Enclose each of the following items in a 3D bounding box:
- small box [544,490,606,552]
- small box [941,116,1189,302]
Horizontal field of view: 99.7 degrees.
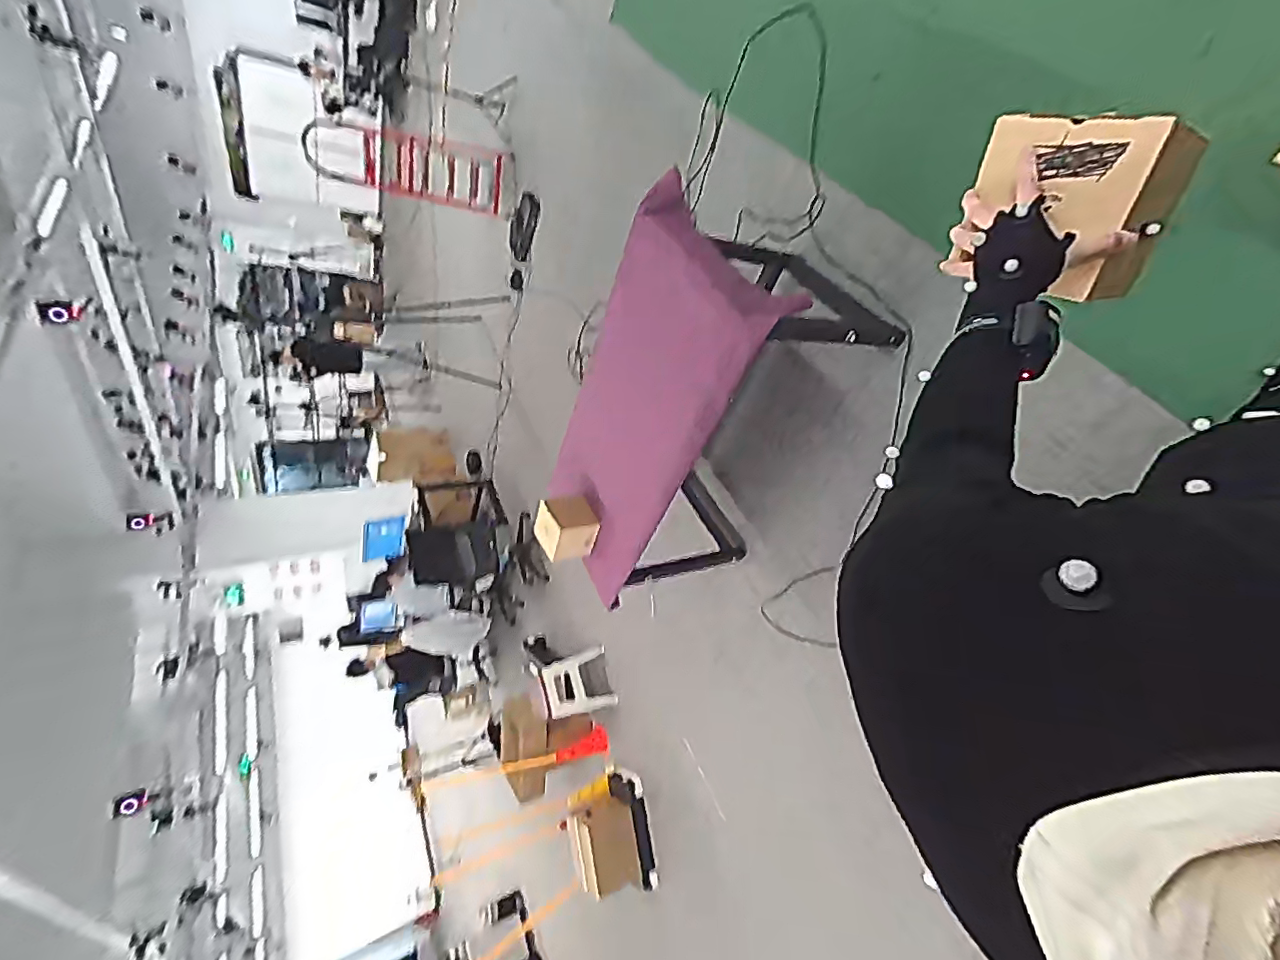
[{"bbox_3d":[-0.252,0.151,2.085,0.179,0.176,0.168,55,139,38],"label":"small box"},{"bbox_3d":[0.517,-0.330,0.664,0.168,0.176,0.179,38,133,42],"label":"small box"}]
